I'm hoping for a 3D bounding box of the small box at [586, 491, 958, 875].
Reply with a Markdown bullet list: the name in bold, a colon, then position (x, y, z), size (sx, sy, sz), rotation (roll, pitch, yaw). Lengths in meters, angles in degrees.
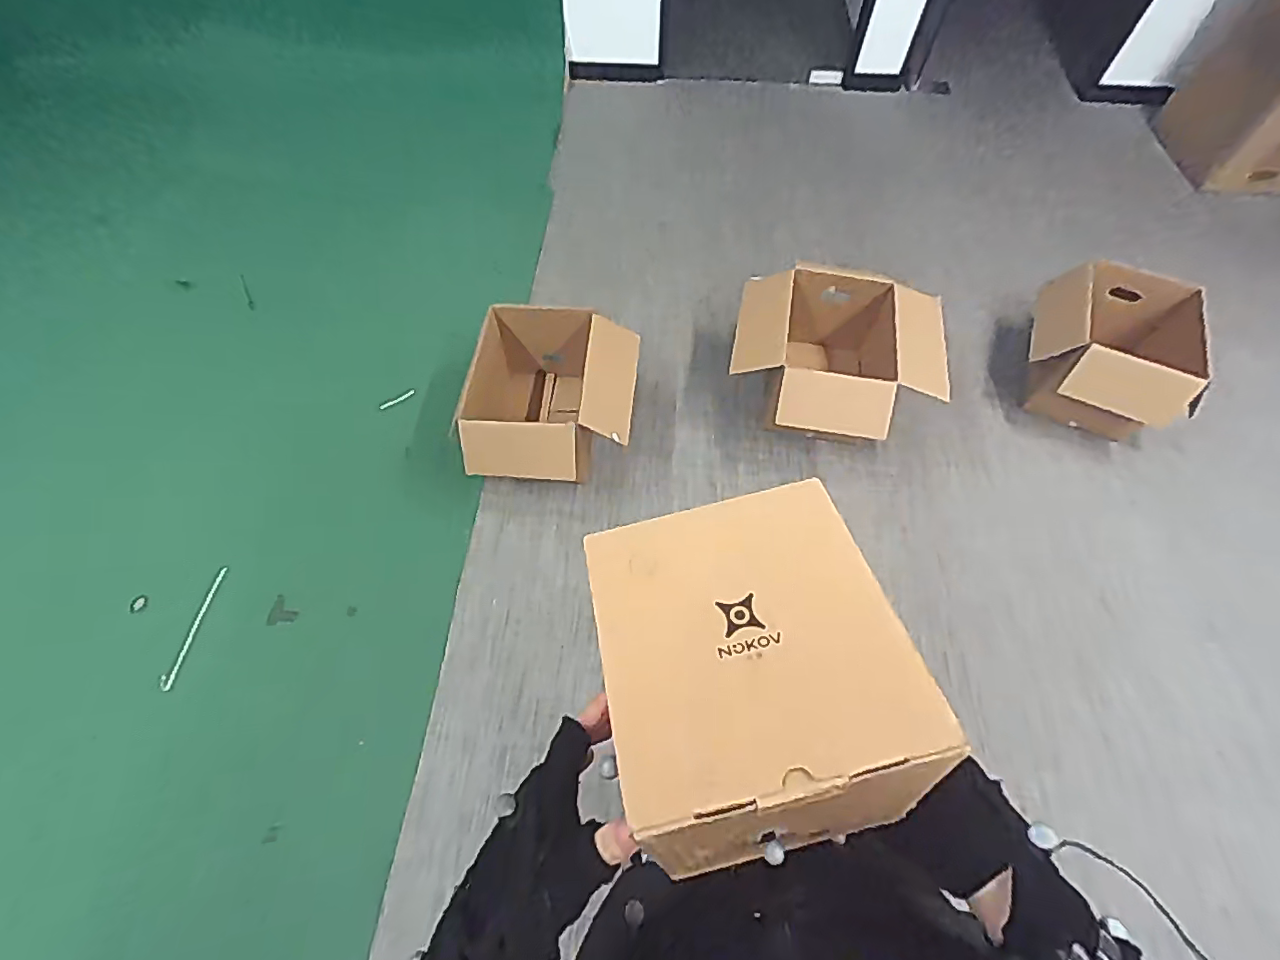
- **small box**: position (0.069, 0.140, 0.370), size (0.168, 0.176, 0.179), rotation (-15, 49, -1)
